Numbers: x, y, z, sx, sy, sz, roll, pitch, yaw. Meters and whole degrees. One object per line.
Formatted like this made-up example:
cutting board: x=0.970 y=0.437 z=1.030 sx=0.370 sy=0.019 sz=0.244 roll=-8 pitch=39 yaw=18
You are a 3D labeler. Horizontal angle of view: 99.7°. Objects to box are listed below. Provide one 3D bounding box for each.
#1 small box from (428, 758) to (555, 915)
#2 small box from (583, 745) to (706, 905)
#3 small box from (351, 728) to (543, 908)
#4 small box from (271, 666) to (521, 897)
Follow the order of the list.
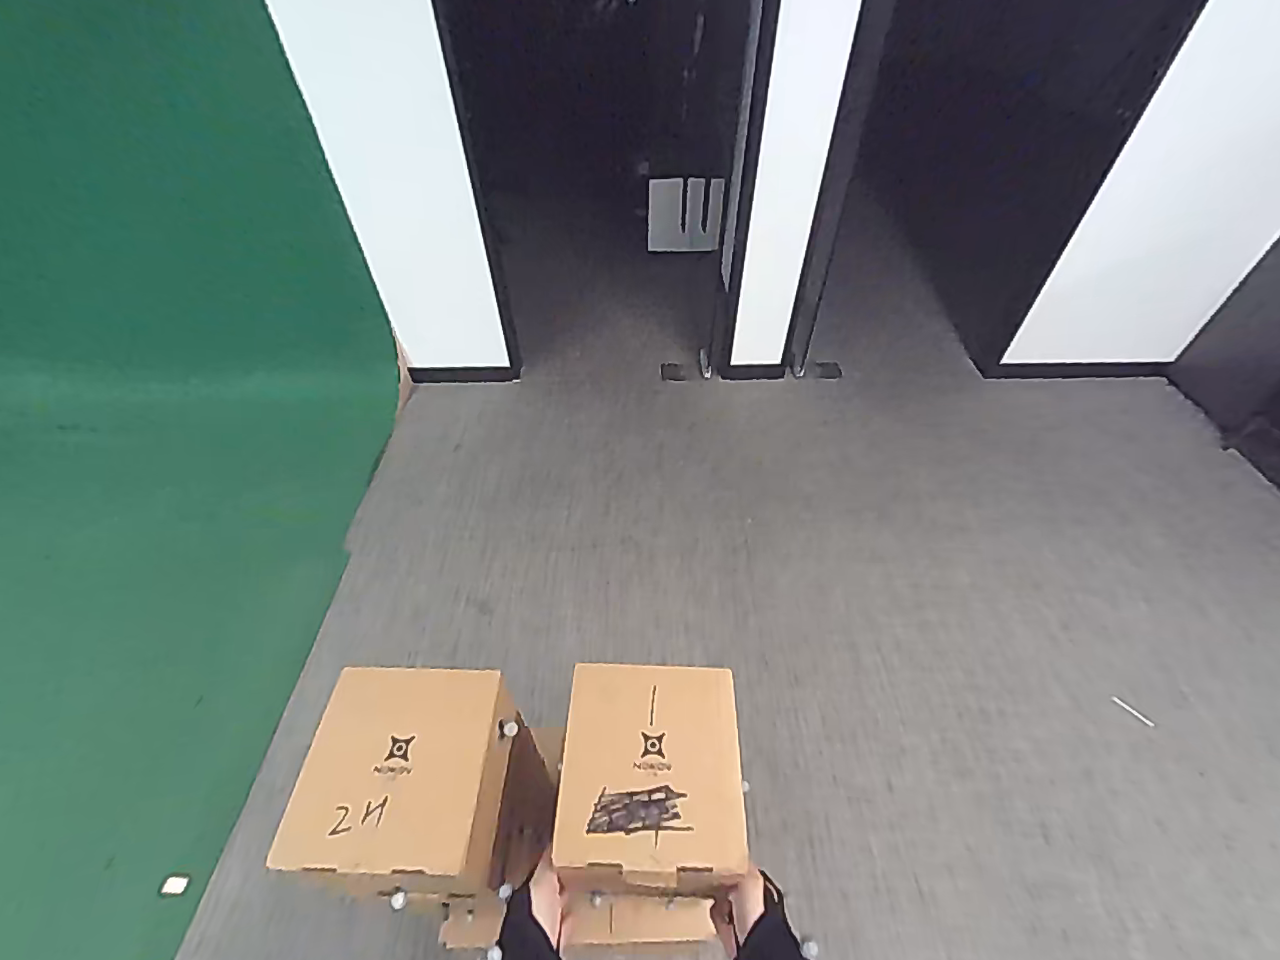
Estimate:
small box: x=-0.224 y=0.533 z=0.811 sx=0.168 sy=0.176 sz=0.179 roll=1 pitch=49 yaw=0
small box: x=0.014 y=0.522 z=0.816 sx=0.168 sy=0.176 sz=0.179 roll=2 pitch=47 yaw=3
small box: x=-0.223 y=0.428 z=0.685 sx=0.168 sy=0.176 sz=0.179 roll=2 pitch=49 yaw=1
small box: x=-0.226 y=0.315 z=0.564 sx=0.168 sy=0.176 sz=0.179 roll=1 pitch=49 yaw=1
